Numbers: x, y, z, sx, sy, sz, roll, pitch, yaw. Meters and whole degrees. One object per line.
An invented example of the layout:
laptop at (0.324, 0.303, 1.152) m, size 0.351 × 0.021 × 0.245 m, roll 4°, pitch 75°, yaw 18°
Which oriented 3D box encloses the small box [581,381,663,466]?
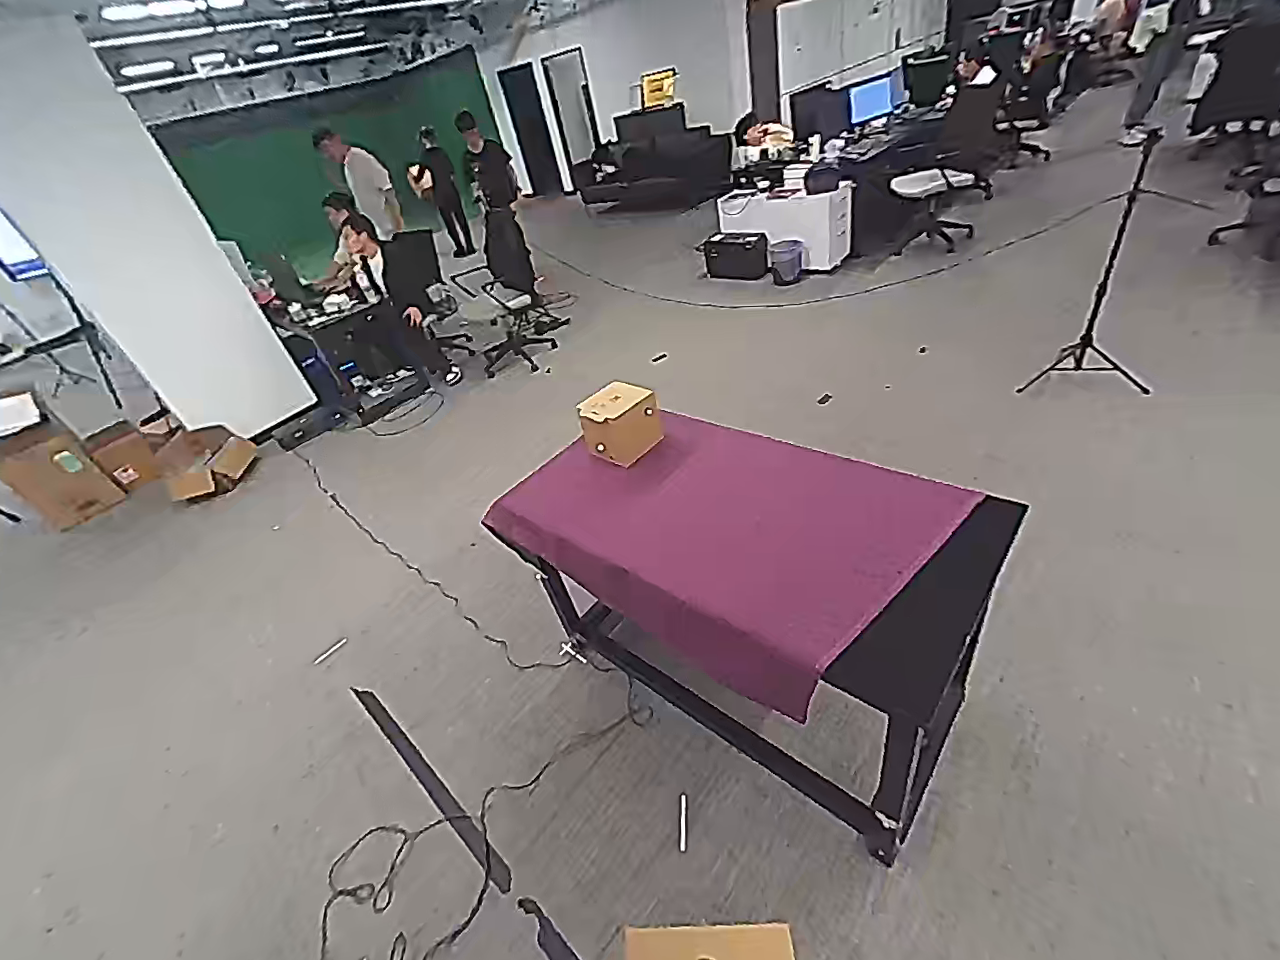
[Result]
small box at (-0.047, -0.172, 1.636) m, size 0.168 × 0.176 × 0.179 m, roll 23°, pitch 51°, yaw 40°
